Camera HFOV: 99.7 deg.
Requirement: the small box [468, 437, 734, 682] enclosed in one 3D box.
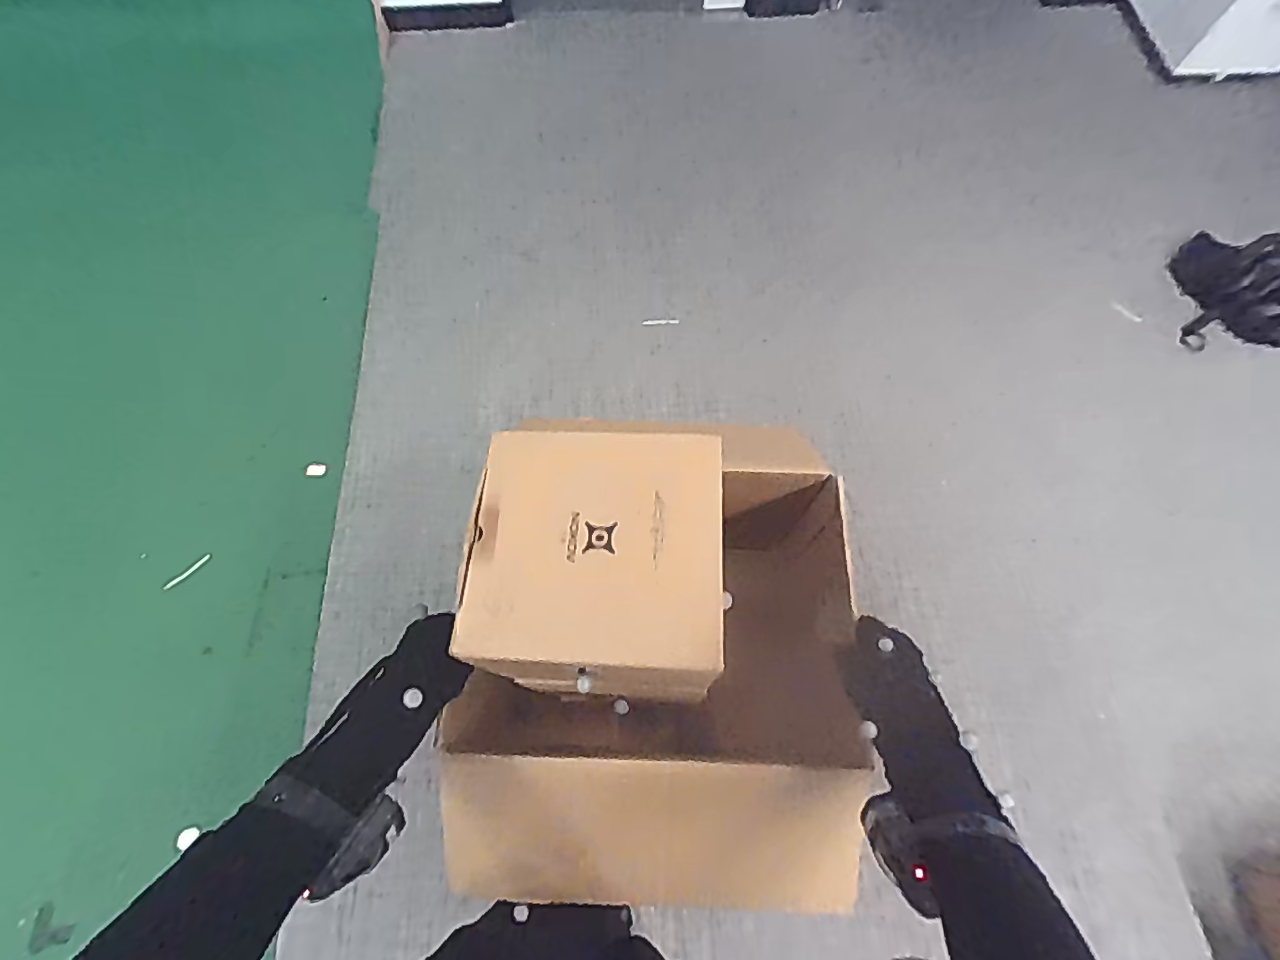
[{"bbox_3d":[-0.019,0.076,0.451,0.179,0.176,0.168,0,67,3],"label":"small box"}]
